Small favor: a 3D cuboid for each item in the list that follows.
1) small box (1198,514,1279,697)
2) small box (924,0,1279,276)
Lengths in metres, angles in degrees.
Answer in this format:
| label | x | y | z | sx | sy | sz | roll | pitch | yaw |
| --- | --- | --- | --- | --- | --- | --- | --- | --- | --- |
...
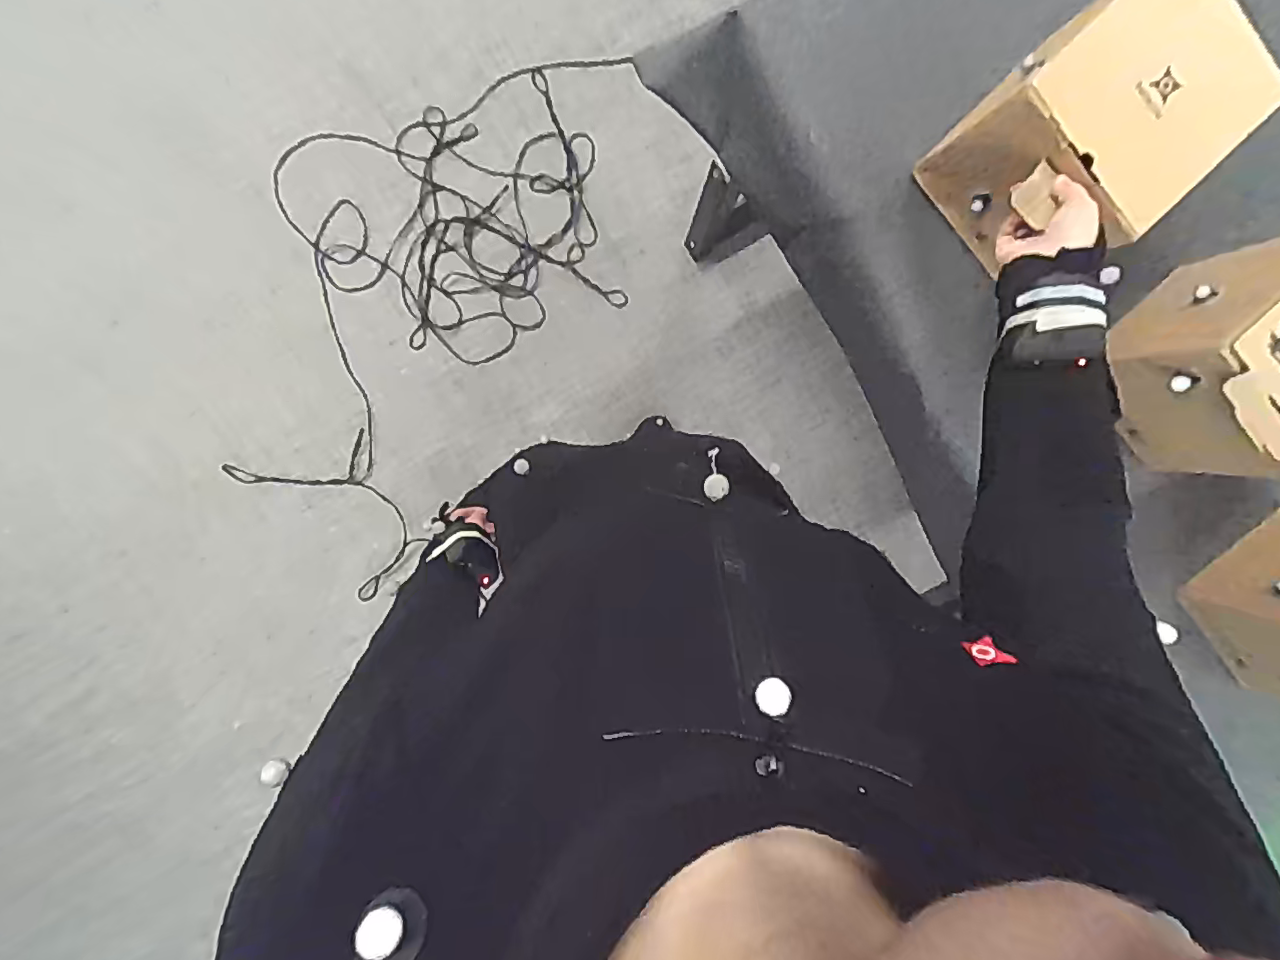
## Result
| label | x | y | z | sx | sy | sz | roll | pitch | yaw |
| --- | --- | --- | --- | --- | --- | --- | --- | --- | --- |
| small box | 0.783 | 0.155 | 0.591 | 0.179 | 0.176 | 0.168 | -41 | 97 | 1 |
| small box | 0.427 | -0.334 | 0.527 | 0.179 | 0.176 | 0.168 | -44 | 98 | 3 |
